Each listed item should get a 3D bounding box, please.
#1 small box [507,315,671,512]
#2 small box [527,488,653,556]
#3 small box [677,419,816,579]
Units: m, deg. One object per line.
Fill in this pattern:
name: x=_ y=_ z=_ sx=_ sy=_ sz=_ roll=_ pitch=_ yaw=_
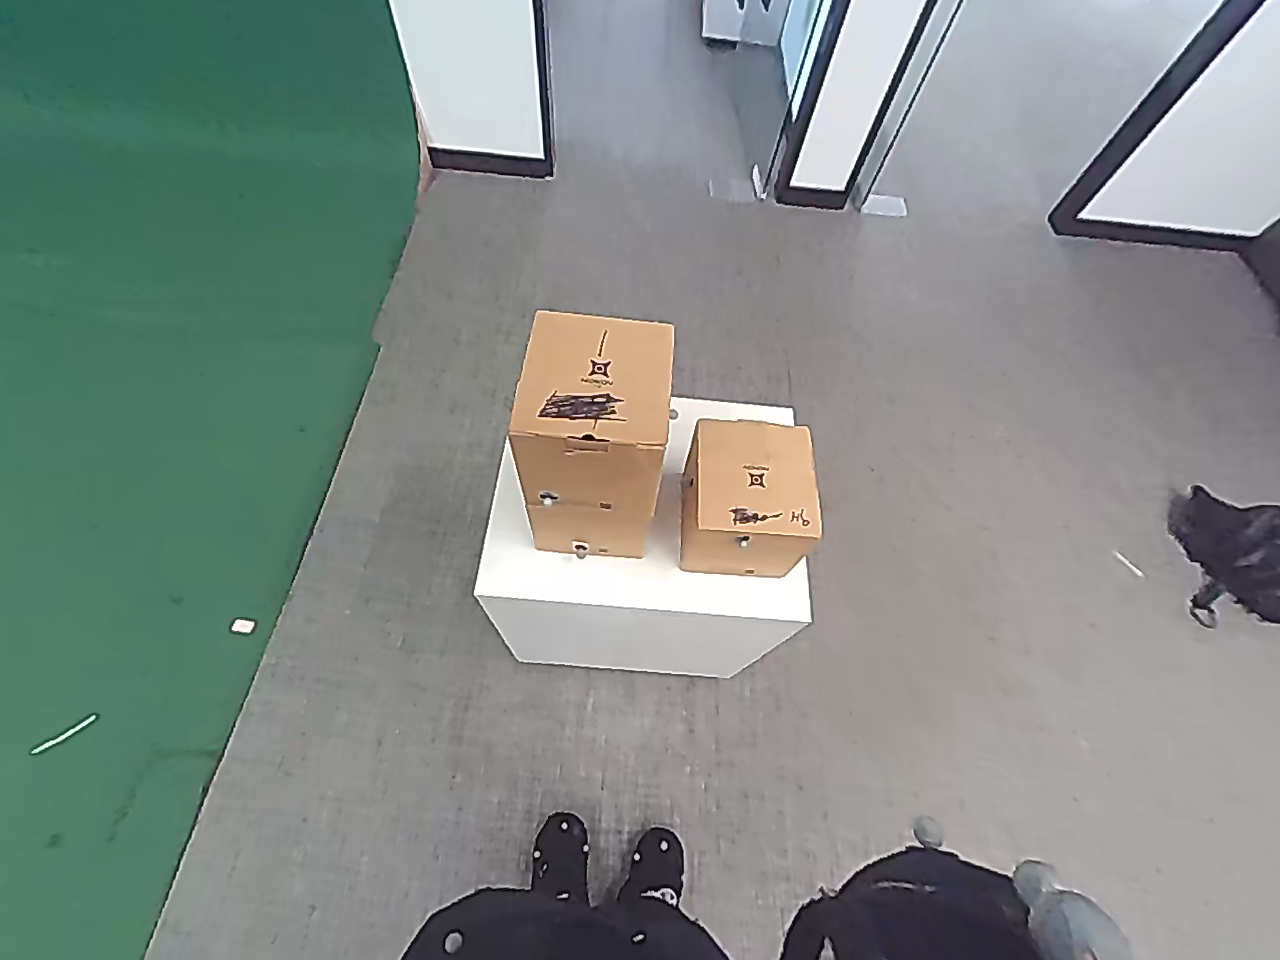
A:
small box: x=-0.056 y=-0.075 z=0.673 sx=0.168 sy=0.176 sz=0.179 roll=6 pitch=59 yaw=-1
small box: x=-0.068 y=-0.002 z=0.802 sx=0.168 sy=0.176 sz=0.179 roll=3 pitch=62 yaw=-3
small box: x=0.149 y=0.034 z=0.816 sx=0.168 sy=0.176 sz=0.179 roll=5 pitch=60 yaw=-2
